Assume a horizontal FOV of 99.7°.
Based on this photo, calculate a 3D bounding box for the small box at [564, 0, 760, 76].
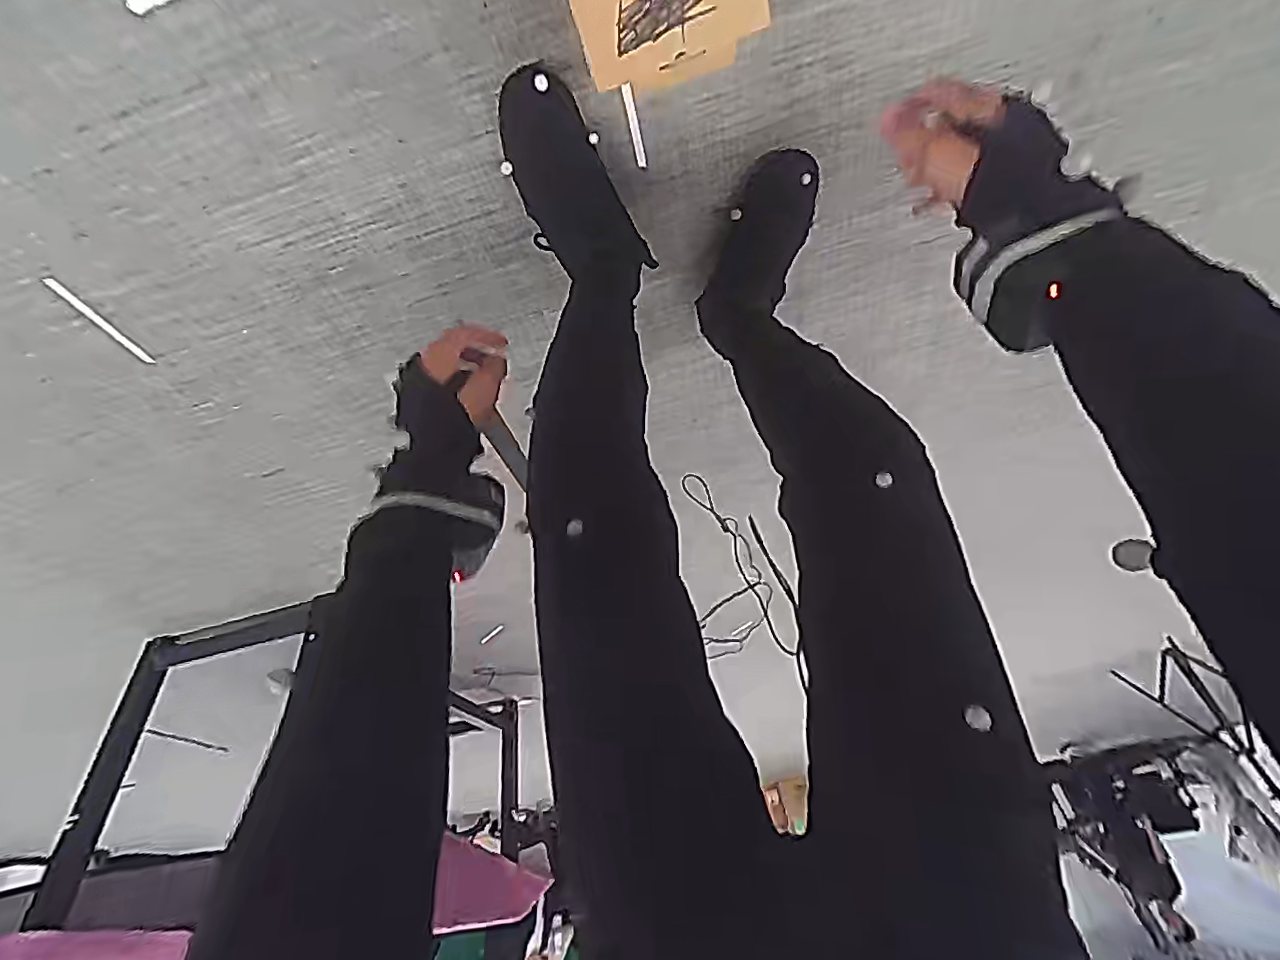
[{"bbox_3d":[-0.003,-0.501,0.466,0.168,0.176,0.179,-16,142,7],"label":"small box"}]
